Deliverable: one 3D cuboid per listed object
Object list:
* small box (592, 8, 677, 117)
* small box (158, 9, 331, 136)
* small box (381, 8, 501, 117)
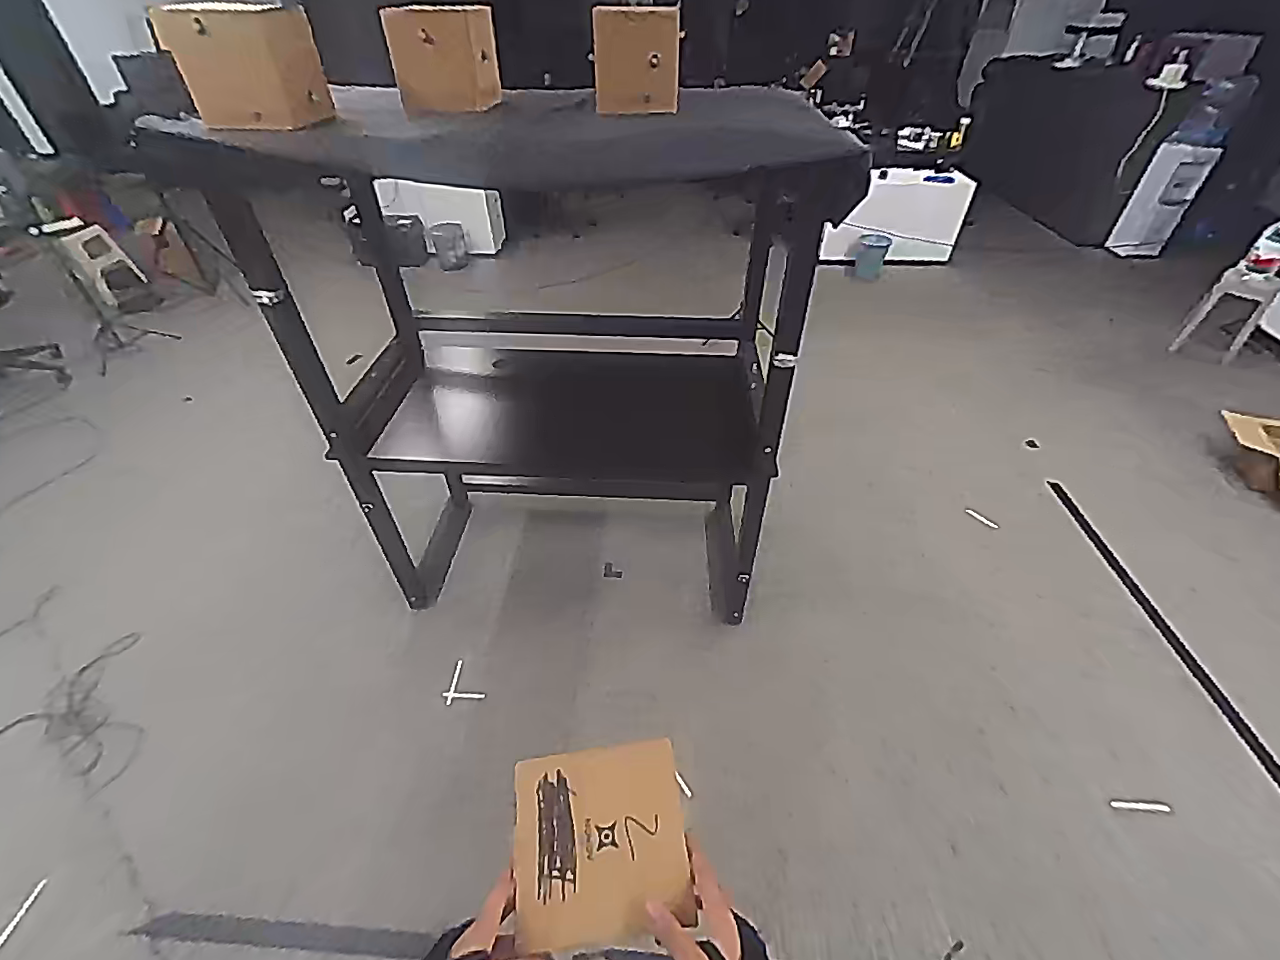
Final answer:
[{"bbox_3d":[-0.007,-0.871,1.129,0.168,0.176,0.179,1,43,1],"label":"small box"},{"bbox_3d":[-0.696,-0.741,0.983,0.168,0.176,0.179,1,42,0],"label":"small box"},{"bbox_3d":[-0.407,-0.885,1.148,0.179,0.176,0.168,2,43,3],"label":"small box"}]
